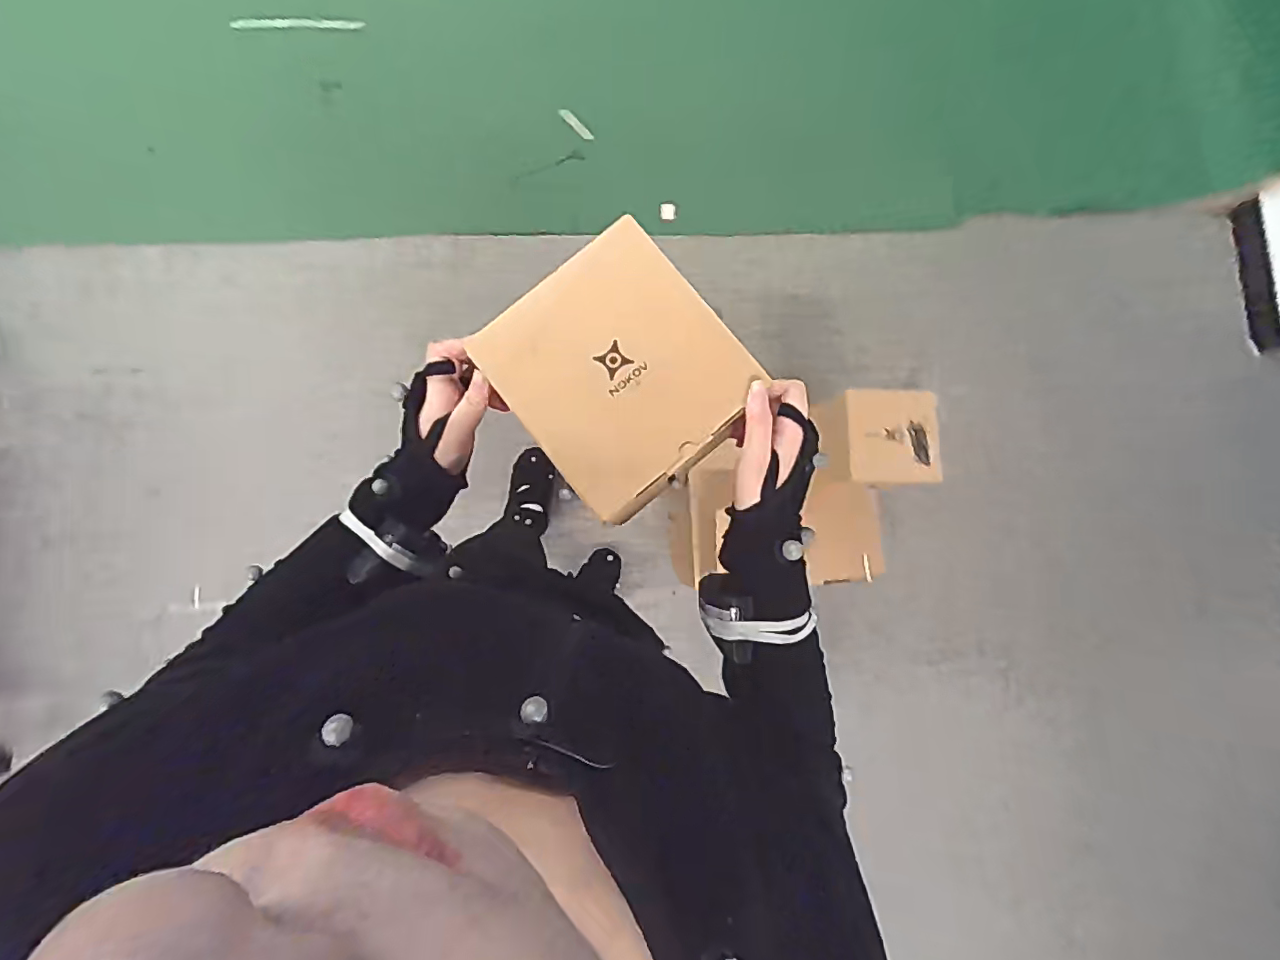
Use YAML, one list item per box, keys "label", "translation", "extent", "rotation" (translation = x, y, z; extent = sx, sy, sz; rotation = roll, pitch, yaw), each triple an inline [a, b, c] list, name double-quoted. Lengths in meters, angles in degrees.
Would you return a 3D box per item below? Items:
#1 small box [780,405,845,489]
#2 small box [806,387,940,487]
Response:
- label: "small box"
  translation: [0.428, -0.069, 1.194]
  extent: [0.179, 0.176, 0.168]
  rotation: [-2, 85, -8]
- label: "small box"
  translation: [0.435, -0.075, 1.029]
  extent: [0.179, 0.176, 0.168]
  rotation: [0, 85, -7]
